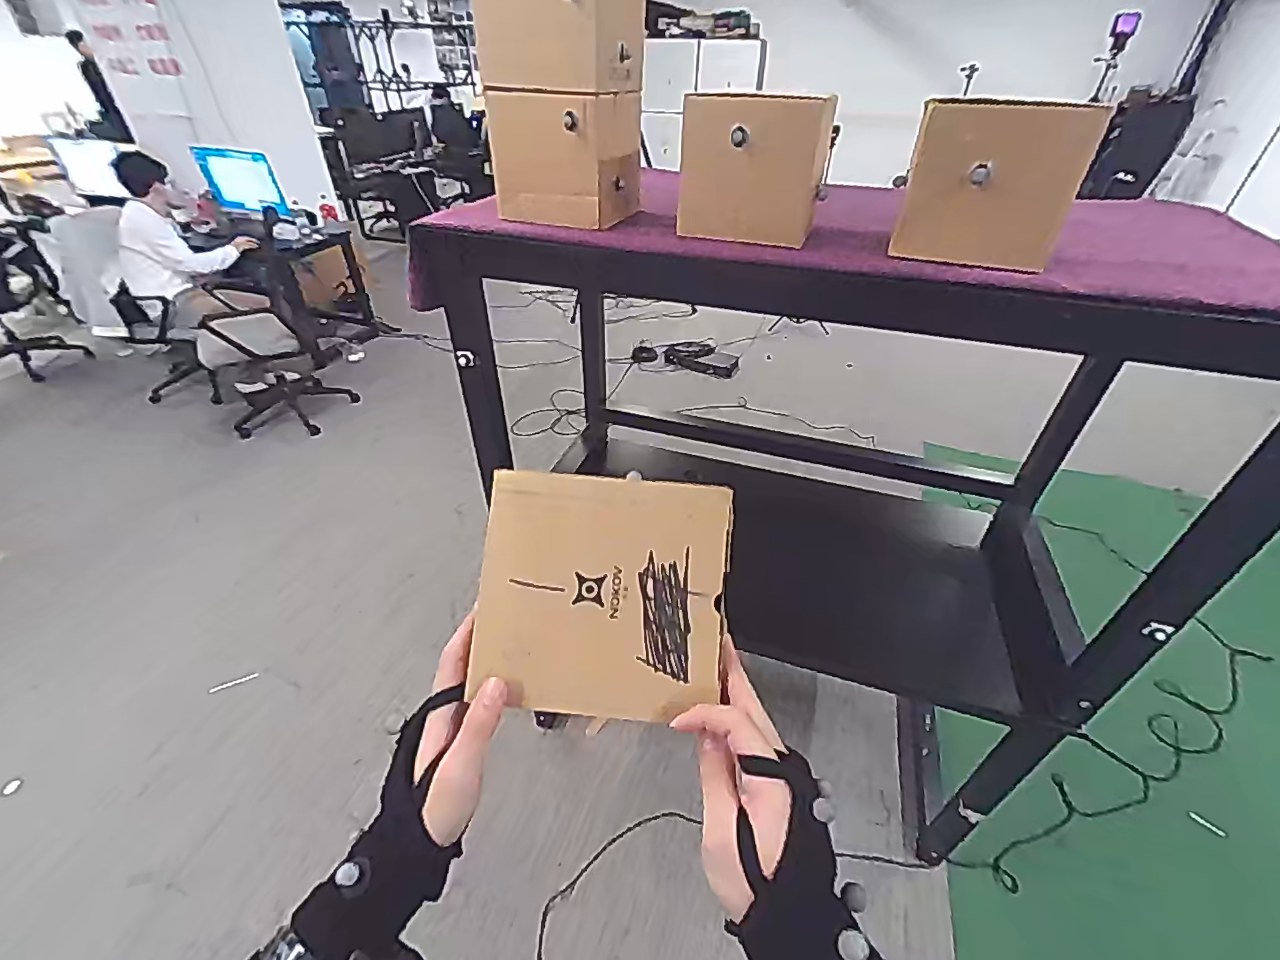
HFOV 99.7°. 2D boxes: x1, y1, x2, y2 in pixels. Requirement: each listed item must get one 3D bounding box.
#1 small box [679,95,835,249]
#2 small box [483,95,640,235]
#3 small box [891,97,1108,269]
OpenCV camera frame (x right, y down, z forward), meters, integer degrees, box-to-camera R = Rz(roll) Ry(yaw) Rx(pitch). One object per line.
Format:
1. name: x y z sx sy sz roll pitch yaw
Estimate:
1. small box: 0.159 -0.431 0.755 0.179 0.176 0.168 13 39 17
2. small box: -0.110 -0.482 0.825 0.179 0.176 0.168 13 39 16
3. small box: 0.426 -0.374 0.678 0.179 0.176 0.168 13 40 18
